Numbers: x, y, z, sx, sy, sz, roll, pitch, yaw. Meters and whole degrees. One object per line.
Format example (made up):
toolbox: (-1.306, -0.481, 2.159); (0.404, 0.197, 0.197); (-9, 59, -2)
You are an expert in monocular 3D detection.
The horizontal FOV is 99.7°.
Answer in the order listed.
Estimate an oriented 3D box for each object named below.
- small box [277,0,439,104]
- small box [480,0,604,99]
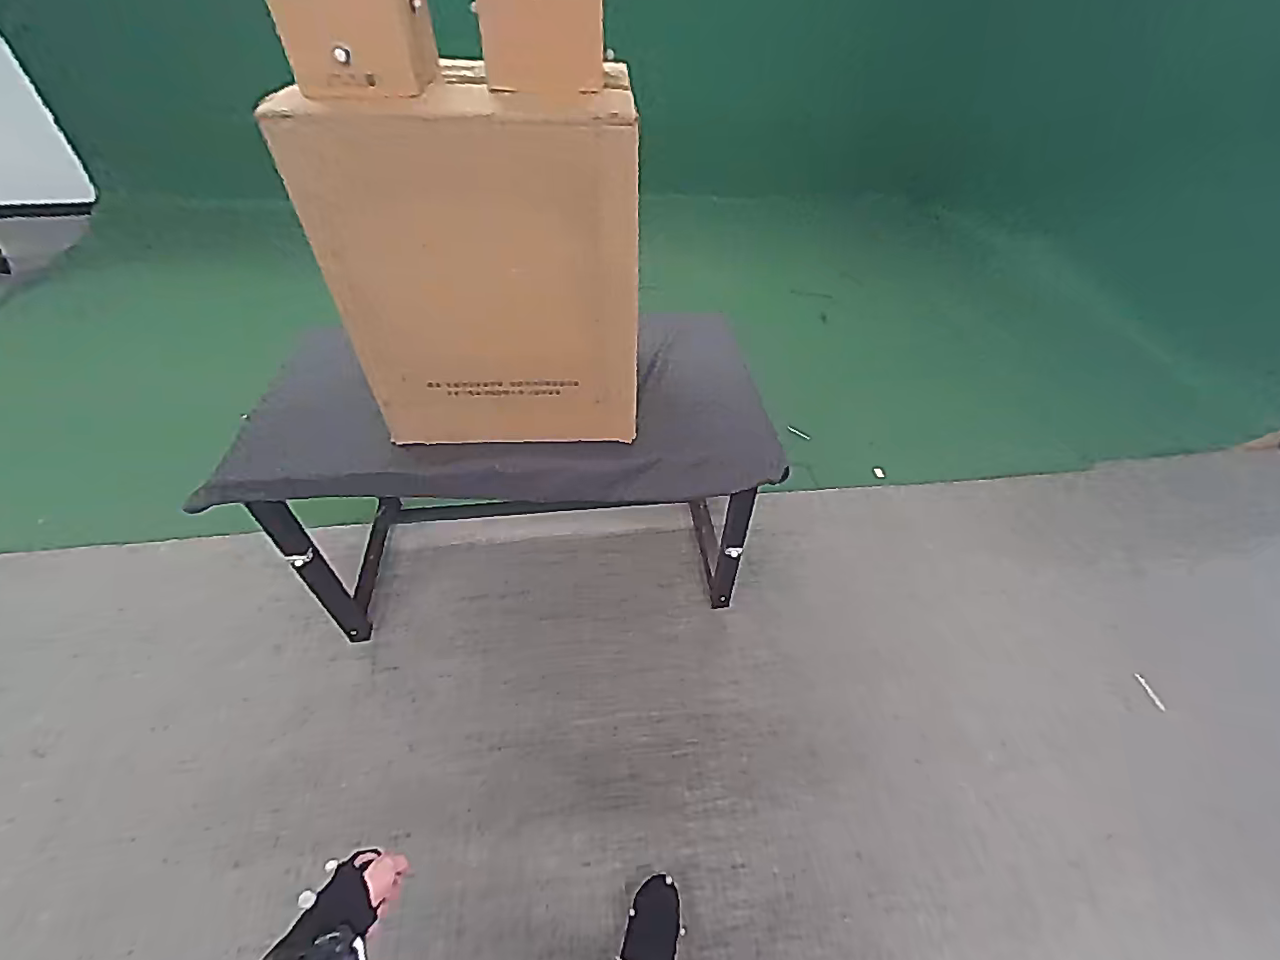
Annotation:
small box: (-0.406, -0.673, 0.787); (0.168, 0.176, 0.179); (-2, 49, -3)
small box: (-0.144, -0.700, 0.821); (0.179, 0.176, 0.168); (0, 49, -5)
